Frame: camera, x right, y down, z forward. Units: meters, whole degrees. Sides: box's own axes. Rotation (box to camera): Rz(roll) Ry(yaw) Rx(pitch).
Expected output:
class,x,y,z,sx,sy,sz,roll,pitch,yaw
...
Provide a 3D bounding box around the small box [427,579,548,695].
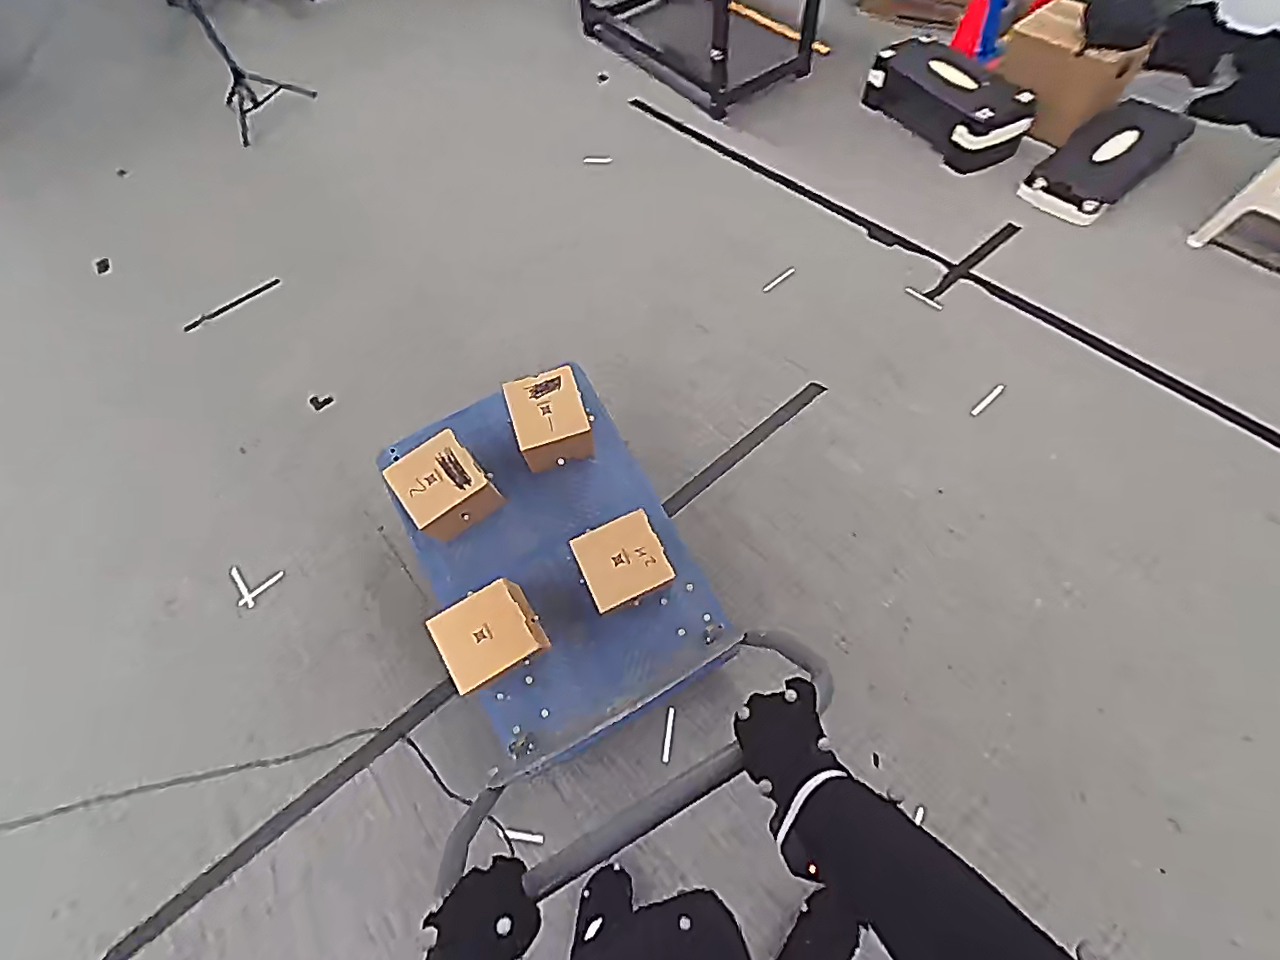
class,x,y,z,sx,sy,sz,roll,pitch,yaw
small box,-0.315,0.336,1.155,0.179,0.176,0.168,-31,75,-11

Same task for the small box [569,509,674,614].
class,x,y,z,sx,sy,sz,roll,pitch,yaw
small box,-0.039,0.189,1.203,0.179,0.176,0.168,-24,75,-8

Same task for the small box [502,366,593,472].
class,x,y,z,sx,sy,sz,roll,pitch,yaw
small box,-0.218,-0.142,1.306,0.168,0.176,0.179,-18,75,-6
